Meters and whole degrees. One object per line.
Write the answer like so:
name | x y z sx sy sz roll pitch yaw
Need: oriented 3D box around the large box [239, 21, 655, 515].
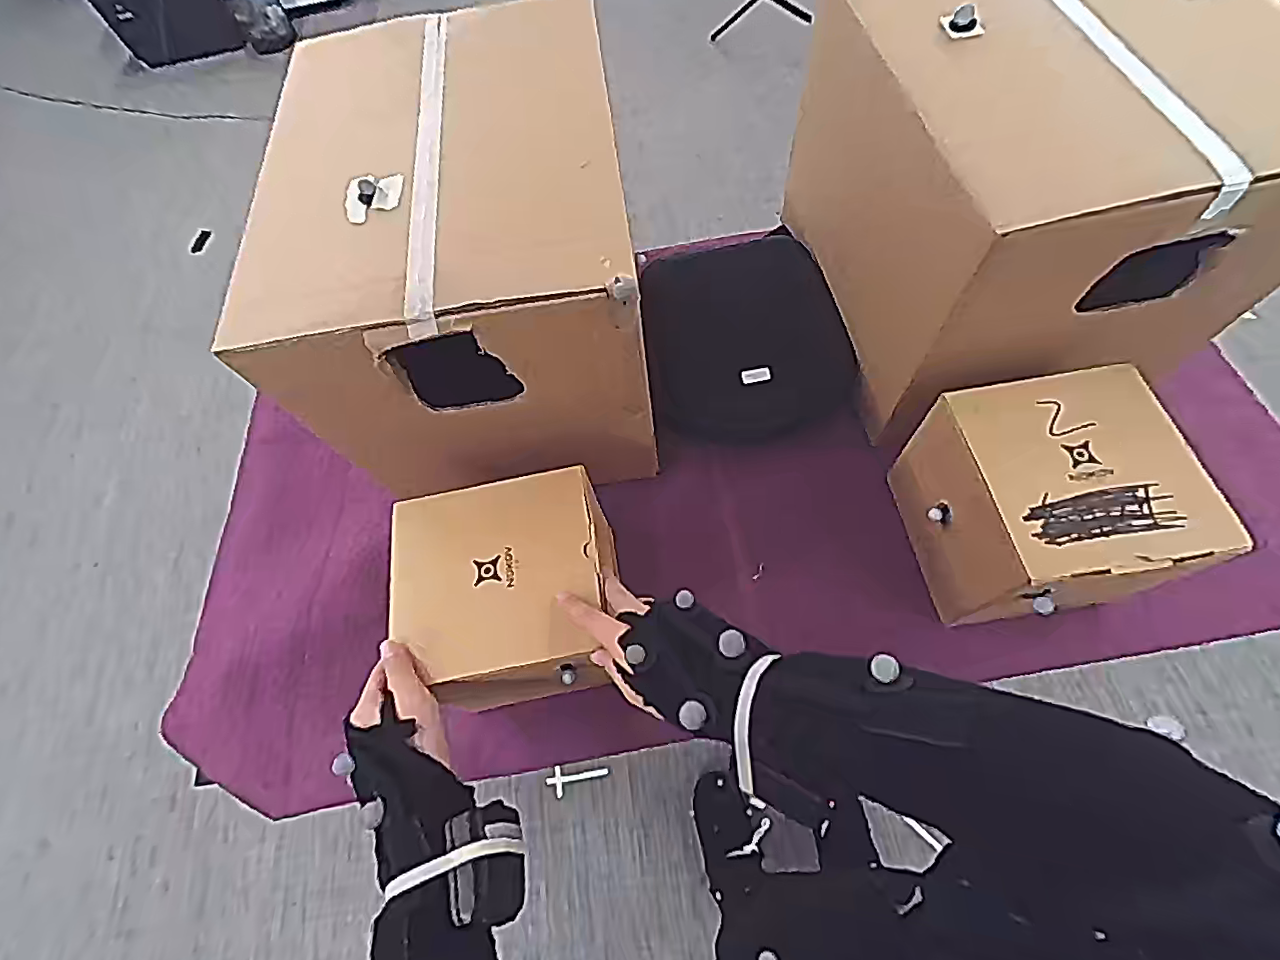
large box | -0.168 -0.214 0.617 0.320 0.320 0.408 -9 66 2
